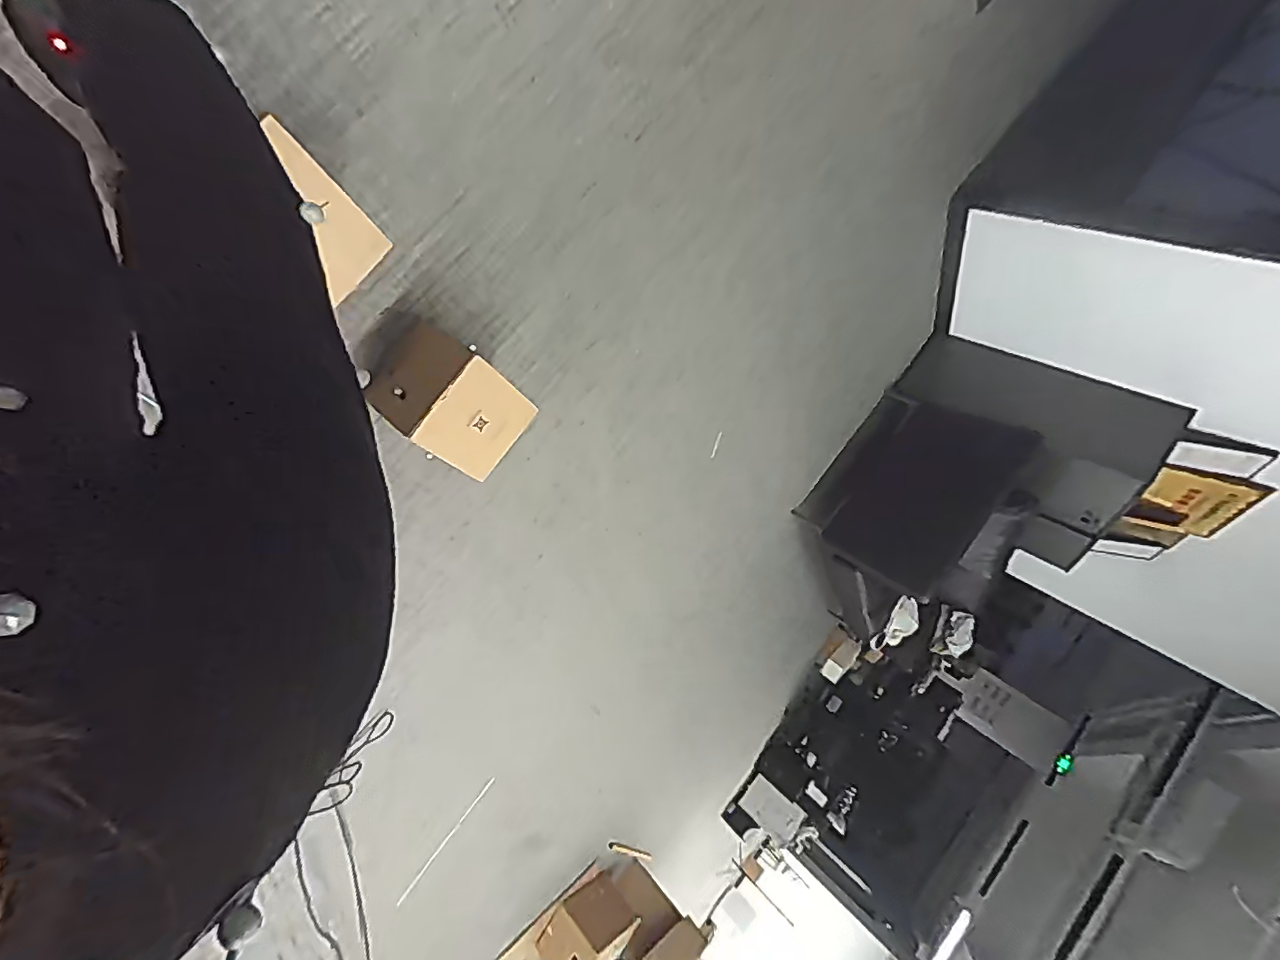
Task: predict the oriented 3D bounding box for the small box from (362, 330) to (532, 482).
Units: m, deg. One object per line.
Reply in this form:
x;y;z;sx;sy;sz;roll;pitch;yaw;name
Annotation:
-0.327;-0.130;0.915;0.168;0.176;0.179;-52;147;-5;small box

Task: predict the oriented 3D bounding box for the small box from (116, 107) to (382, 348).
-0.448;-0.291;0.623;0.179;0.176;0.168;-52;147;-8;small box
